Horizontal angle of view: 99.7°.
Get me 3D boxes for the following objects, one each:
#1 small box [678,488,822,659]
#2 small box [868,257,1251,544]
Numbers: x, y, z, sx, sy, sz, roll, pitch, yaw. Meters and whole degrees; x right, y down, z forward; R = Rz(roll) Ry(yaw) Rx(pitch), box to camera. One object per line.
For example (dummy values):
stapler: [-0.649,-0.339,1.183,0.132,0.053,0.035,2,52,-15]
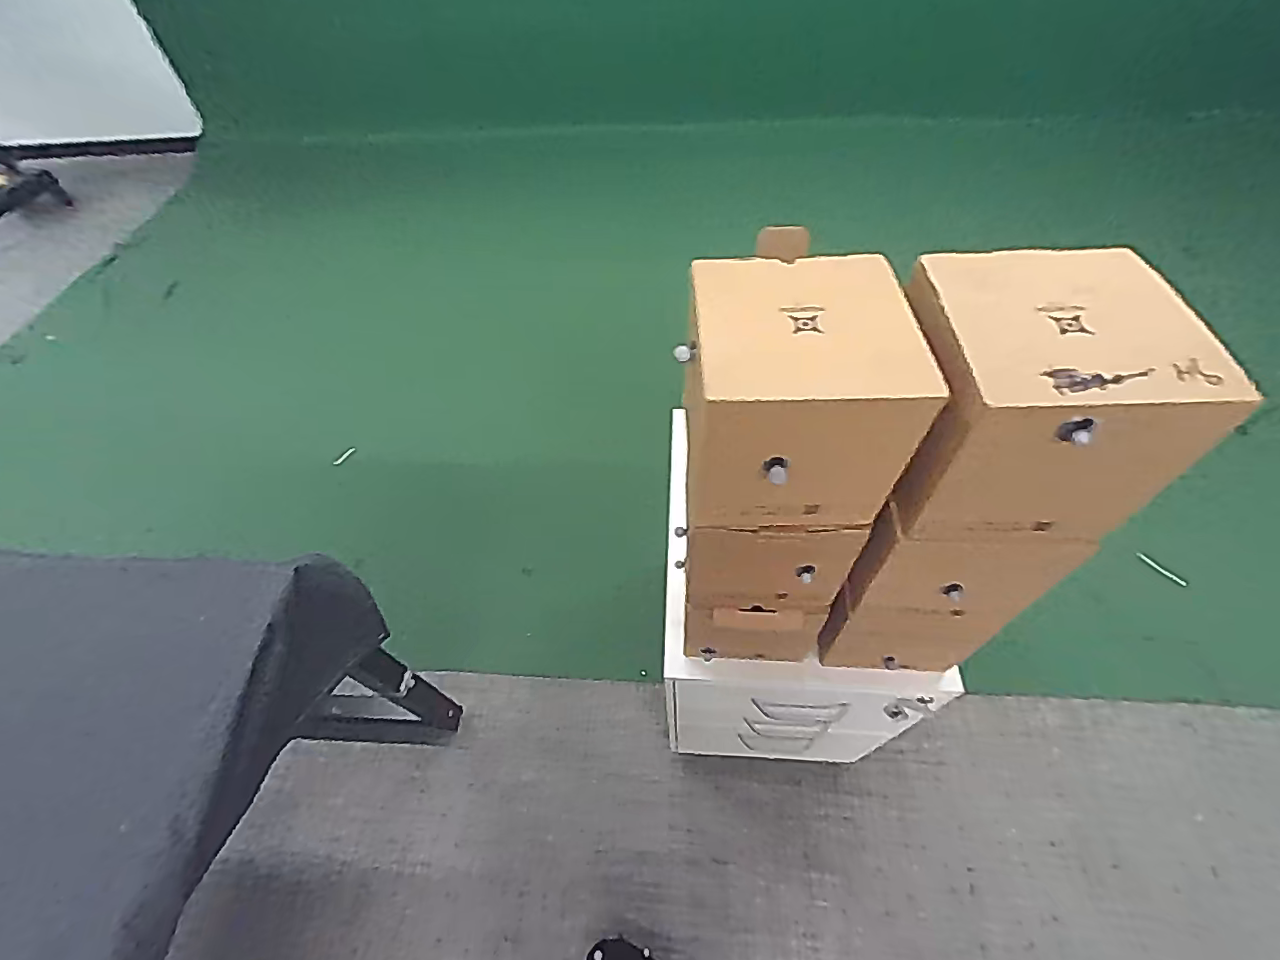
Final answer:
small box: [0.138,0.131,0.734,0.168,0.176,0.179,2,53,4]
small box: [0.311,-0.065,0.458,0.168,0.176,0.179,0,53,4]
